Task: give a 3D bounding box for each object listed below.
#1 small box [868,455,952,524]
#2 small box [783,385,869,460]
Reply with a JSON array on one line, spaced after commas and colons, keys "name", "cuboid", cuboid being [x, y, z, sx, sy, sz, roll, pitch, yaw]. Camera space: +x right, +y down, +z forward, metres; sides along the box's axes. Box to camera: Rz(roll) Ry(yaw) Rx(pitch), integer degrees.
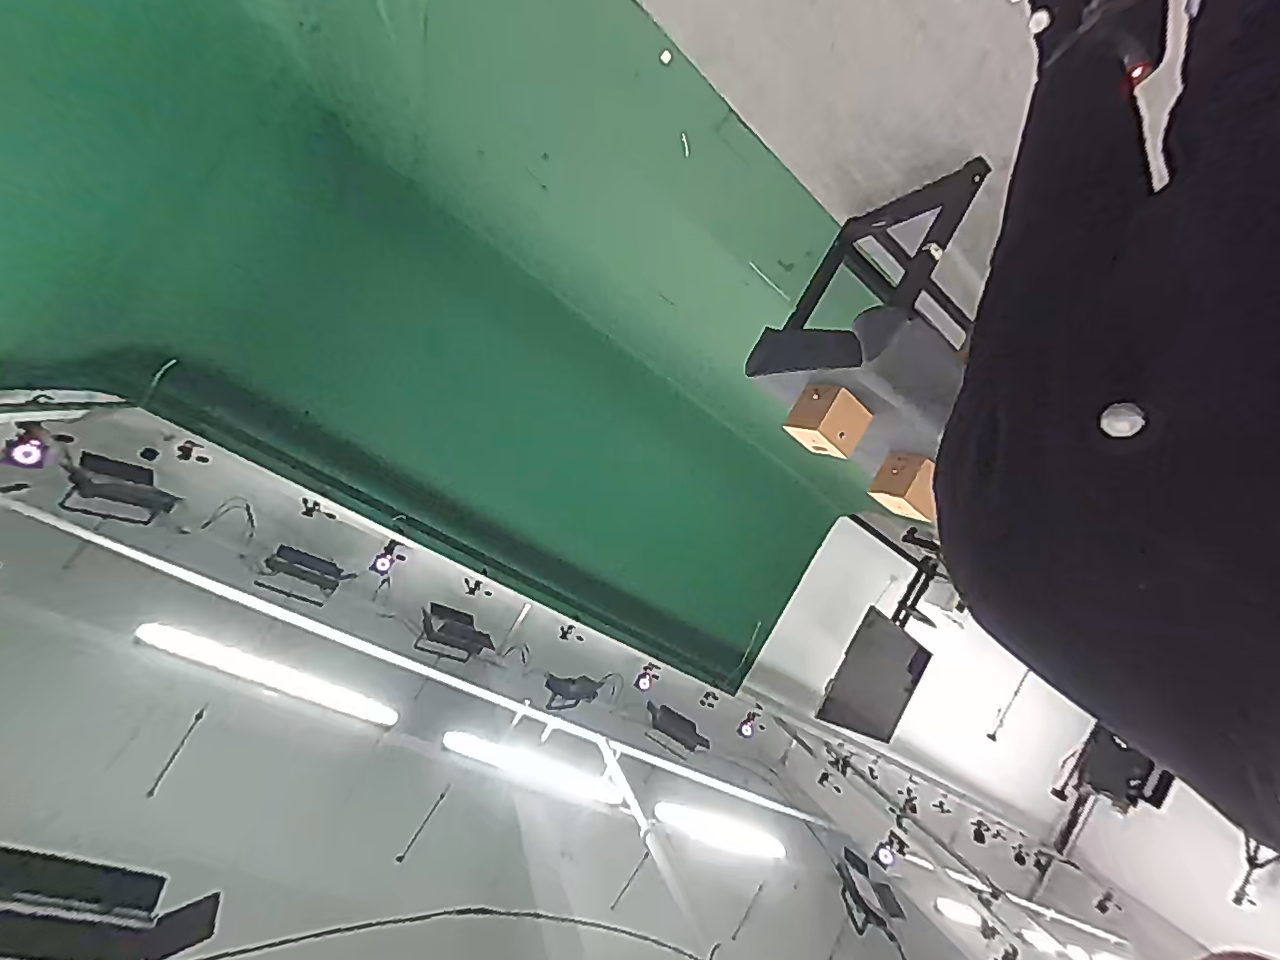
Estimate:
[{"name": "small box", "cuboid": [0.958, 0.028, 1.917, 0.179, 0.176, 0.168, 34, 175, -24]}, {"name": "small box", "cuboid": [0.614, -0.190, 1.772, 0.179, 0.176, 0.168, 34, 175, -28]}]
